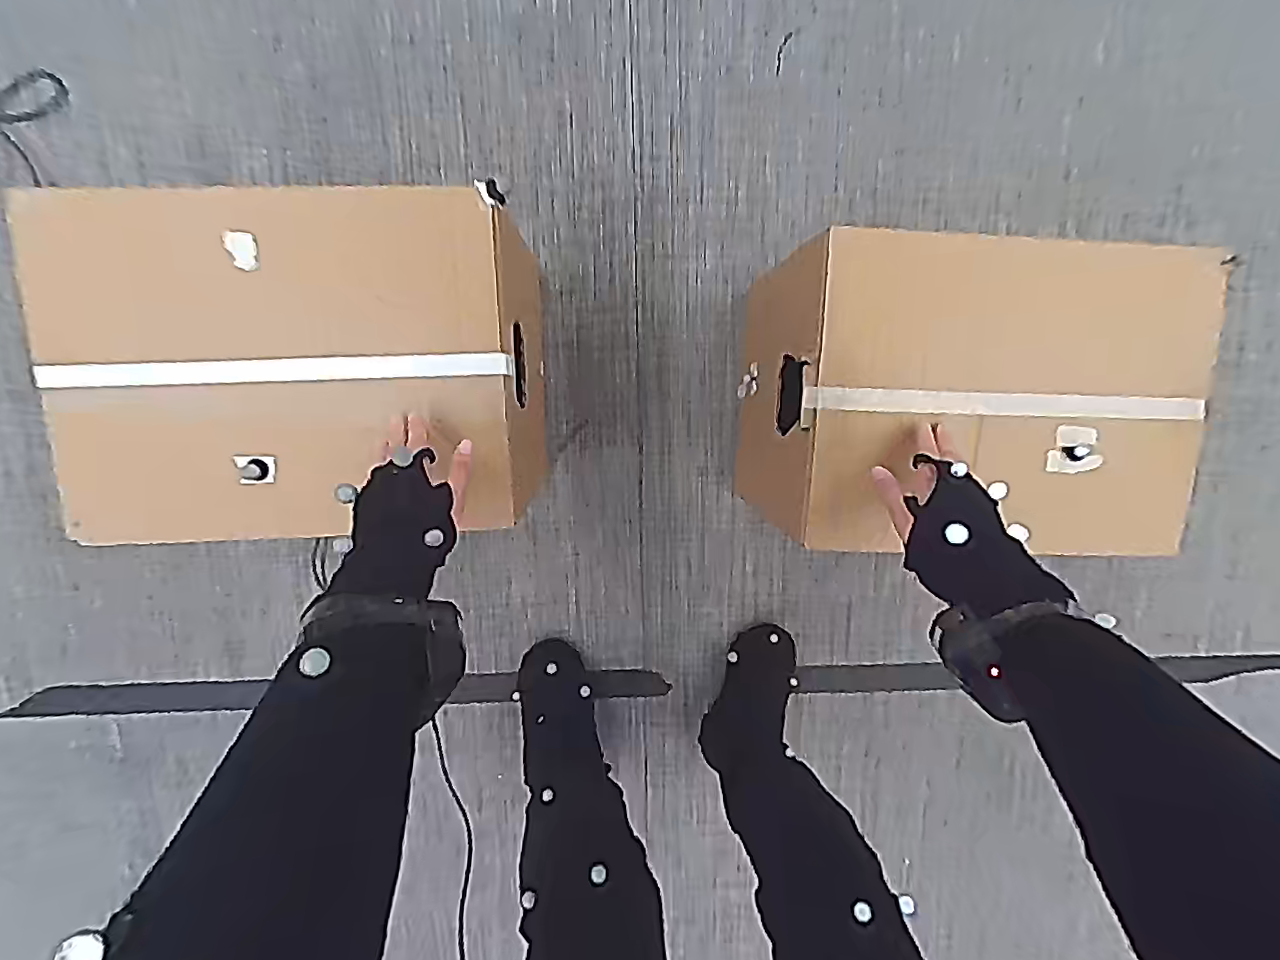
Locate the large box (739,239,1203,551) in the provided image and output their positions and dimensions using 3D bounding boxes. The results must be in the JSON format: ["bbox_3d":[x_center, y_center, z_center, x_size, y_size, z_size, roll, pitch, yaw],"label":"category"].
[{"bbox_3d":[0.362,-0.098,0.702,0.408,0.320,0.320,2,98,-4],"label":"large box"}]
